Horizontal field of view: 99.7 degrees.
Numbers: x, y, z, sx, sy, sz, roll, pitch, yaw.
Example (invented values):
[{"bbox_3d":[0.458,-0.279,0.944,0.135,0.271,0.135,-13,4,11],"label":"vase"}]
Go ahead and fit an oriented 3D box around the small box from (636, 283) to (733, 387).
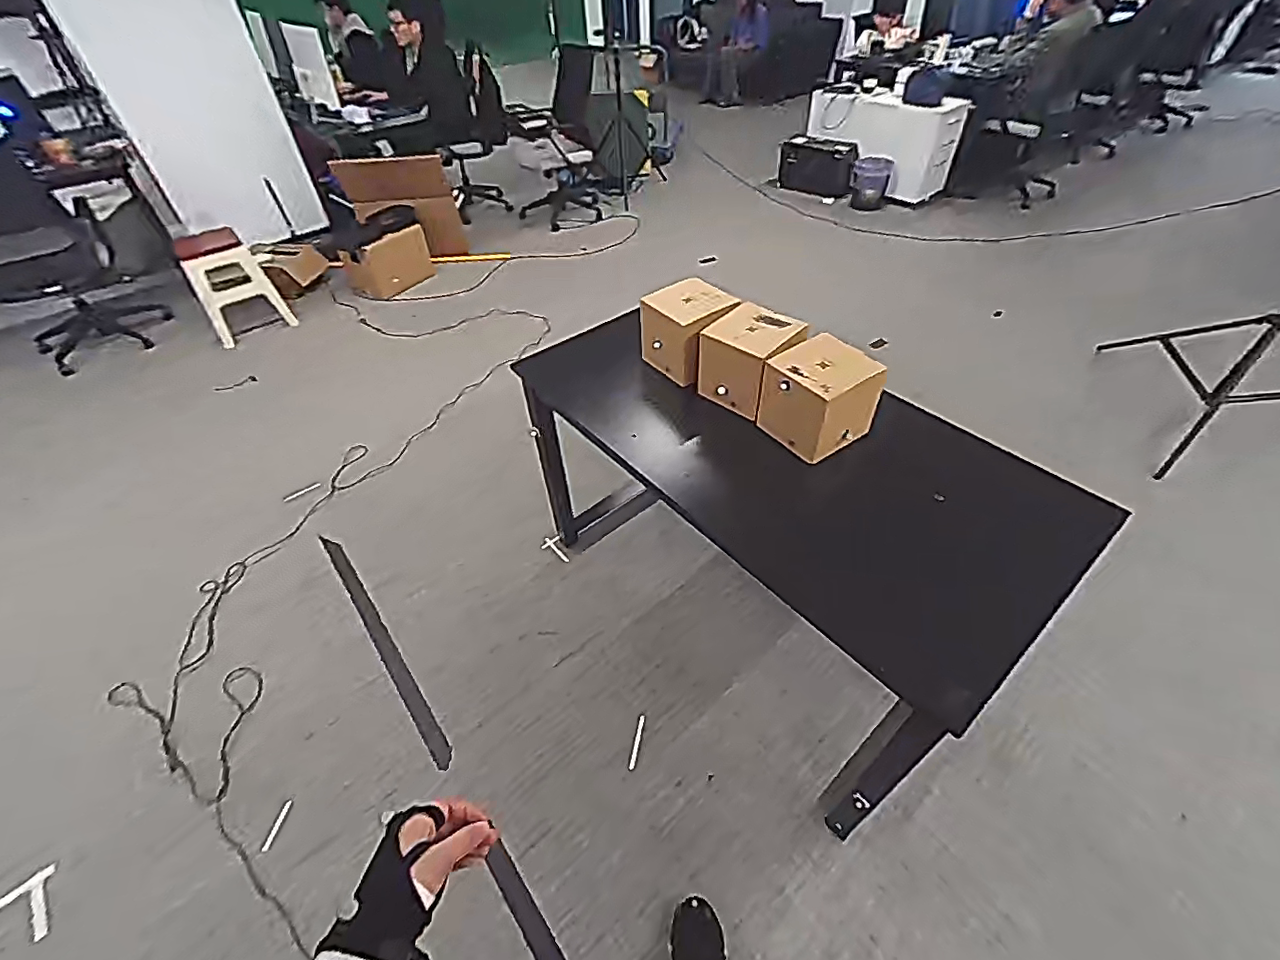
[{"bbox_3d":[0.109,-0.355,1.329,0.179,0.176,0.168,-30,51,-24],"label":"small box"}]
